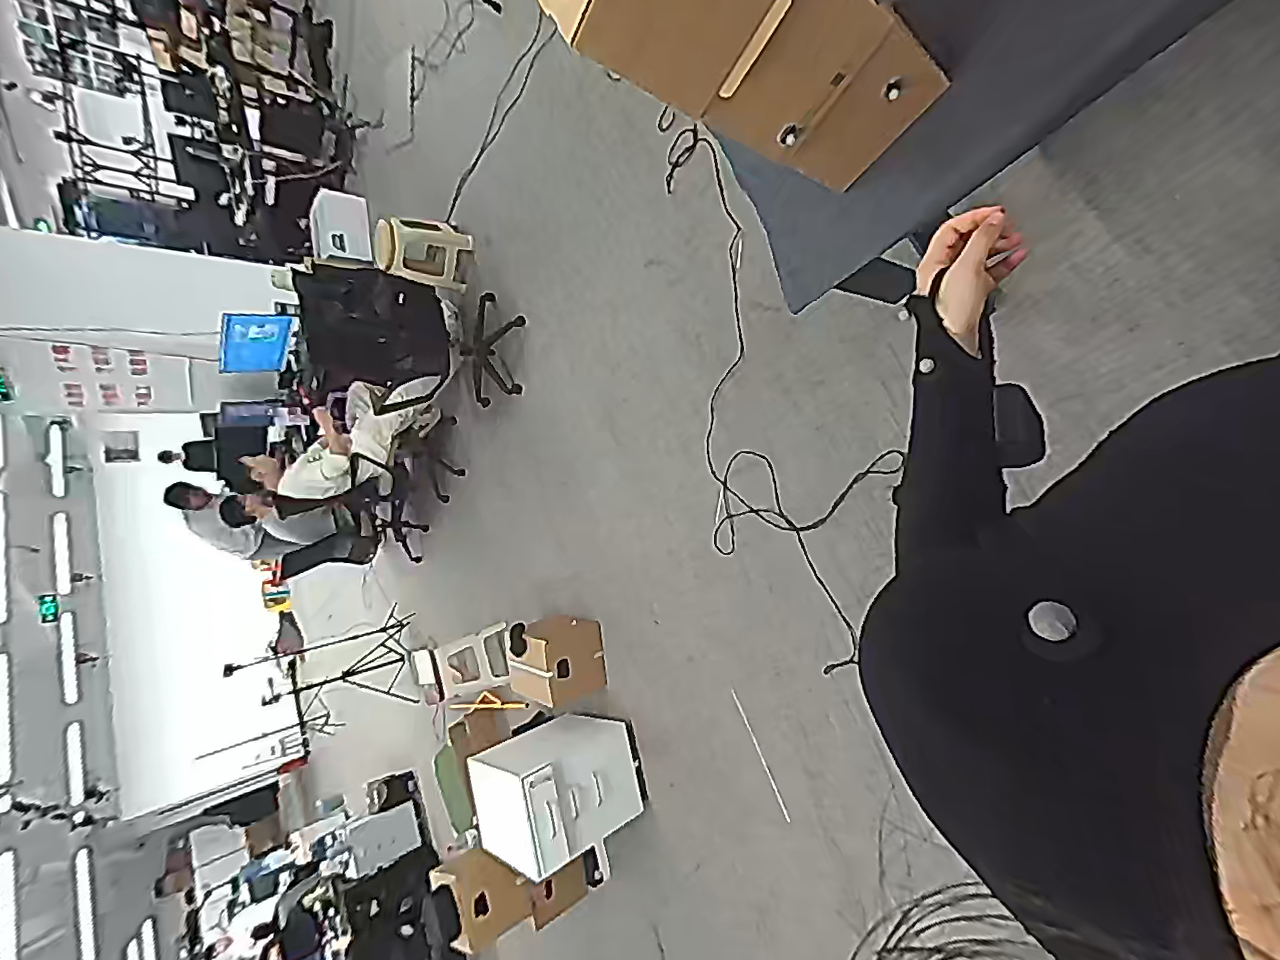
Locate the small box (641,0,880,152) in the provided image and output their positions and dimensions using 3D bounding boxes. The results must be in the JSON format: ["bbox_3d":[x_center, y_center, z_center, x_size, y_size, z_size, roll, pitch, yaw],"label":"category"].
[{"bbox_3d":[0.137,-0.515,0.622,0.168,0.176,0.179,-45,60,42],"label":"small box"}]

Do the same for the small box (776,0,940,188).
[{"bbox_3d":[0.266,-0.535,0.723,0.179,0.176,0.168,-41,63,45],"label":"small box"}]
